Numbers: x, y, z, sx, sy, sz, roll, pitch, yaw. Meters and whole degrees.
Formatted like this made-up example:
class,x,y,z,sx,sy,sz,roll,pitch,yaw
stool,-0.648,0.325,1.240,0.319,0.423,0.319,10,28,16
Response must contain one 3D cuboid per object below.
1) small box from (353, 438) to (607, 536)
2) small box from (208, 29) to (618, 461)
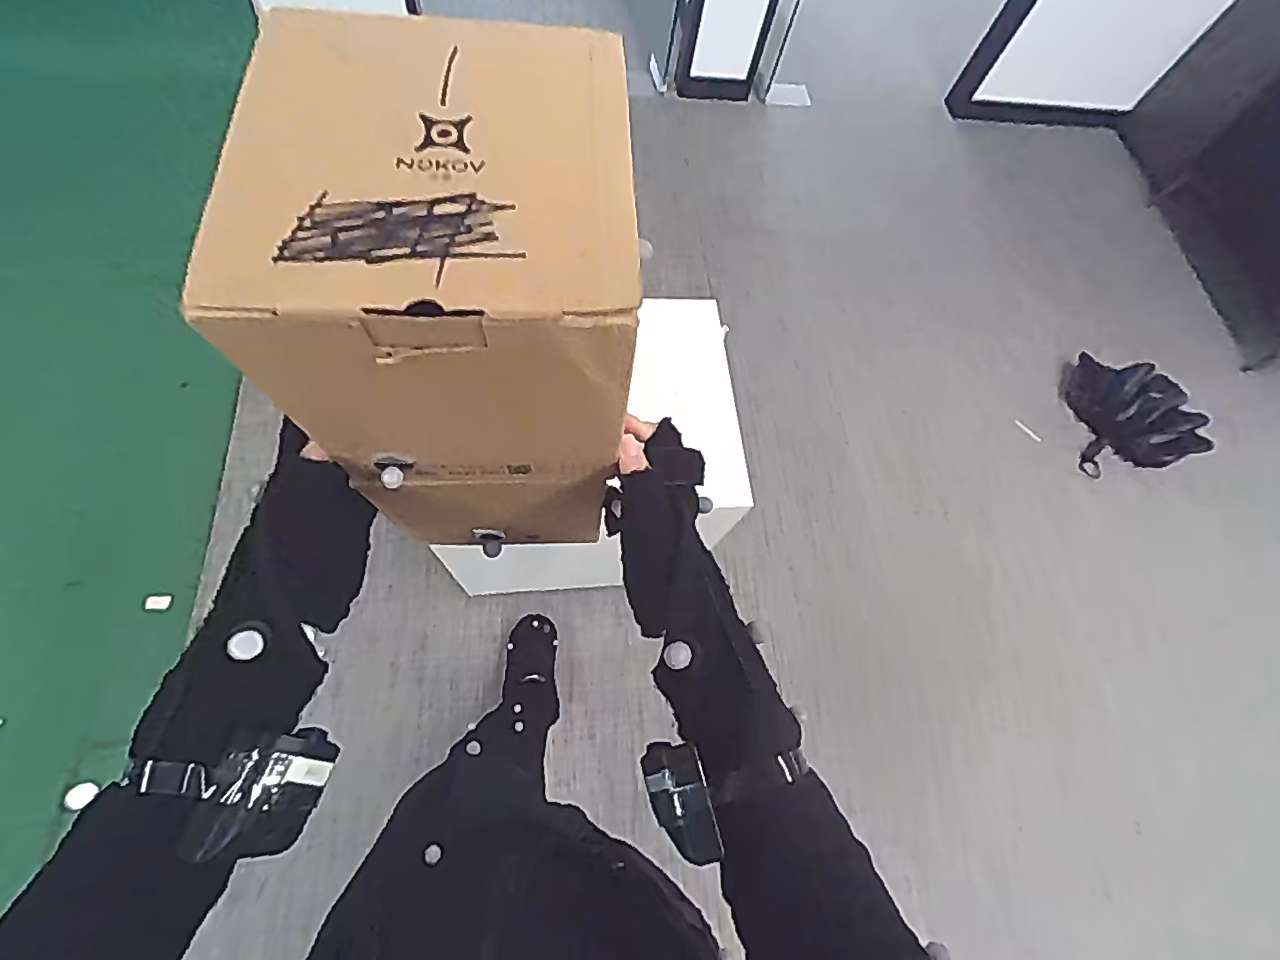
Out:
class,x,y,z,sx,sy,sz,roll,pitch,yaw
small box,-0.116,-0.060,0.458,0.168,0.176,0.179,-1,69,-7
small box,-0.099,-0.118,0.323,0.168,0.176,0.179,0,67,-6
